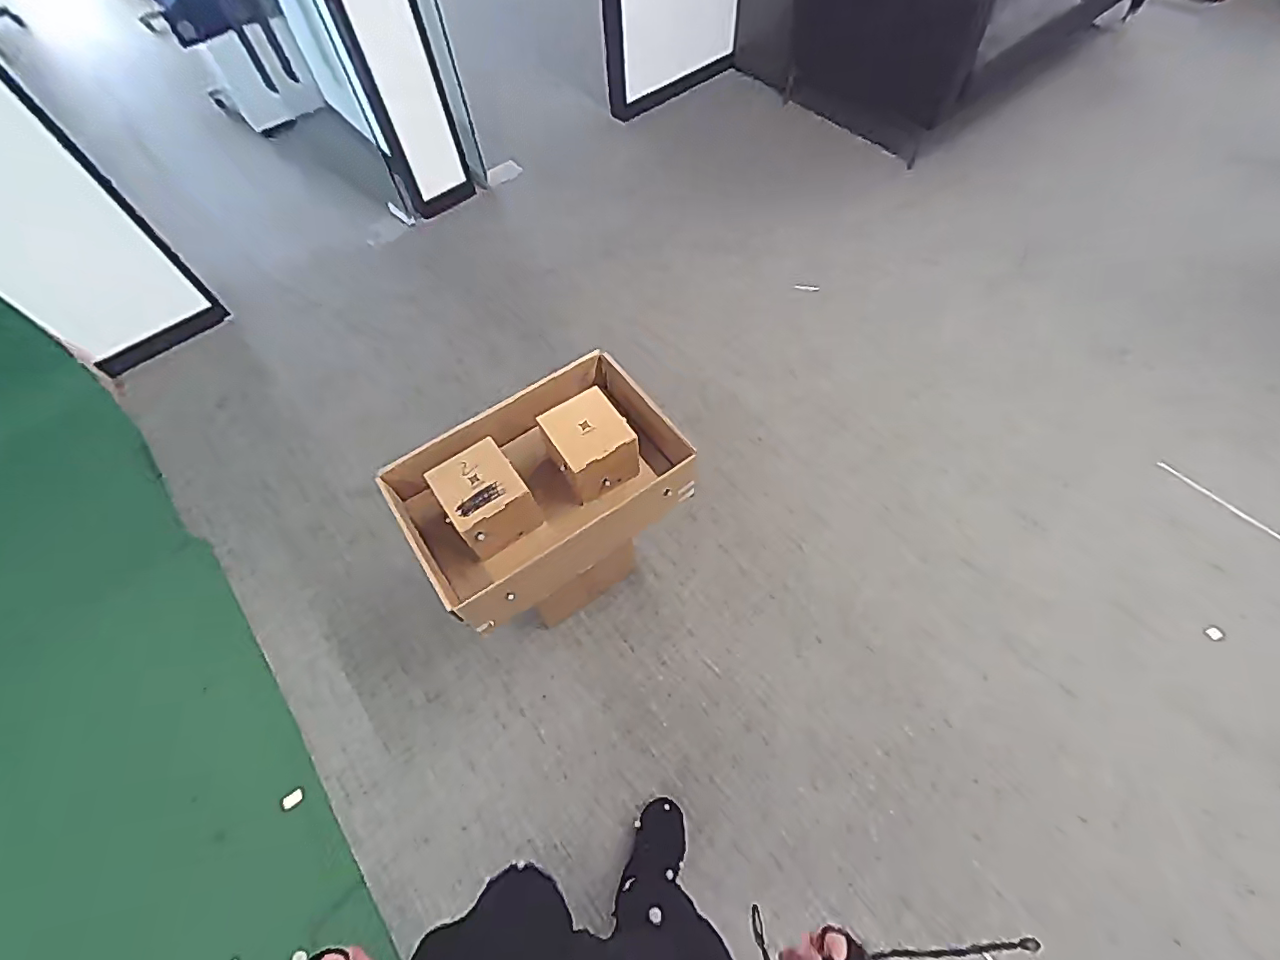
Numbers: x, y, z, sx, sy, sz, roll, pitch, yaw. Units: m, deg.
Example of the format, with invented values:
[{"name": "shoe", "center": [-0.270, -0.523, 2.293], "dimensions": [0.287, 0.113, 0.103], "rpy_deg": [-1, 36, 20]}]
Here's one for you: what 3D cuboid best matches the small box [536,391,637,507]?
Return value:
[{"name": "small box", "center": [-0.122, -0.069, 1.269], "dimensions": [0.168, 0.176, 0.179], "rpy_deg": [-31, 65, -15]}]
